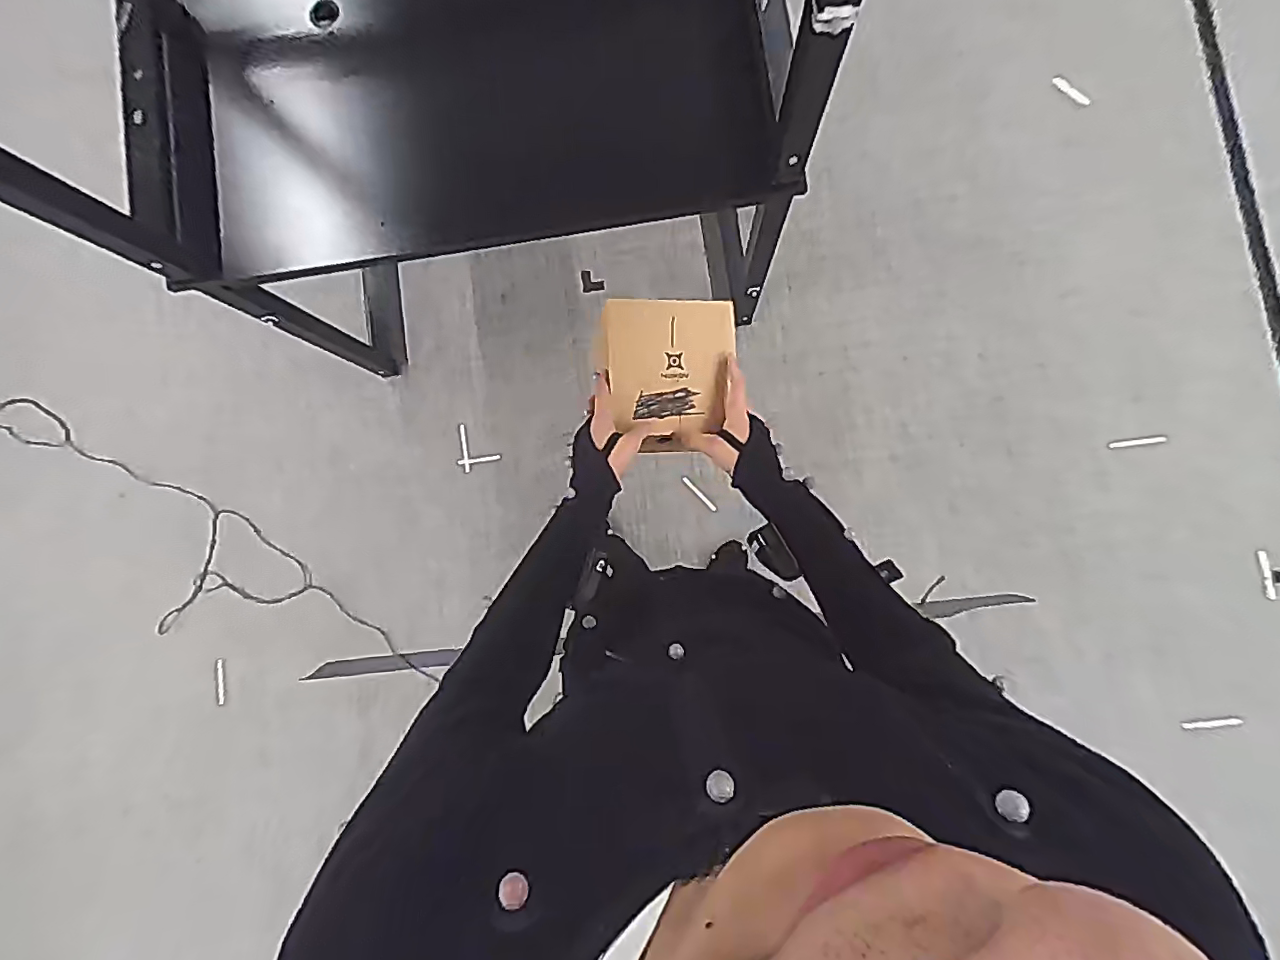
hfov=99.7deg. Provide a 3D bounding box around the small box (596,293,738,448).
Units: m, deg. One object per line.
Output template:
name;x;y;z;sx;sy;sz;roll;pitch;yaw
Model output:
small box;0.029;-0.138;0.746;0.168;0.176;0.179;-1;86;-10
